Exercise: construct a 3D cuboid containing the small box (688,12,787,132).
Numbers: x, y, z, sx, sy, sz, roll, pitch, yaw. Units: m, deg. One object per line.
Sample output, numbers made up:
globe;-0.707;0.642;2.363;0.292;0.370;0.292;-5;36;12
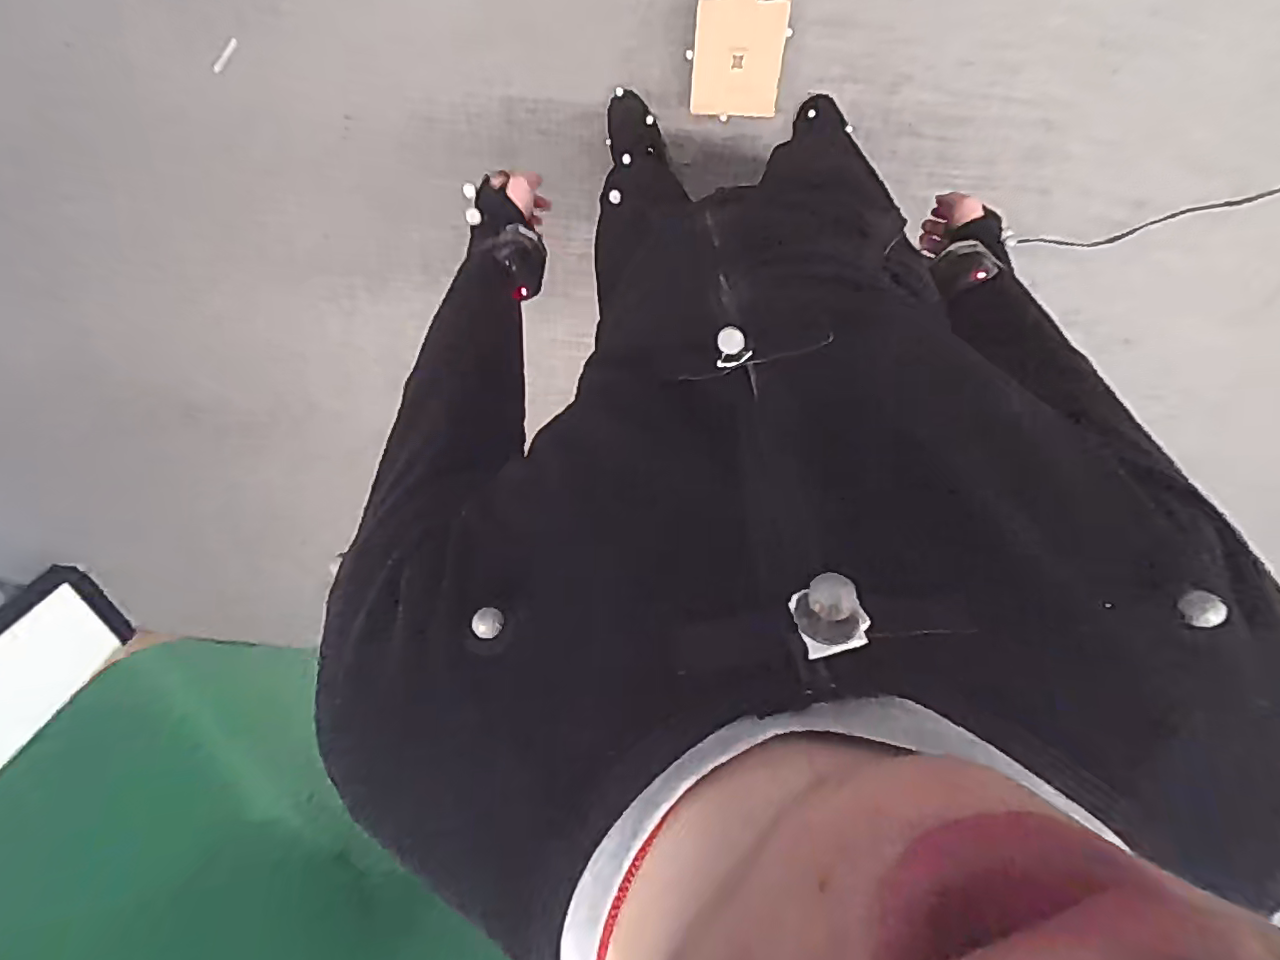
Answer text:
small box;0.186;-0.809;1.077;0.168;0.176;0.179;6;129;4
